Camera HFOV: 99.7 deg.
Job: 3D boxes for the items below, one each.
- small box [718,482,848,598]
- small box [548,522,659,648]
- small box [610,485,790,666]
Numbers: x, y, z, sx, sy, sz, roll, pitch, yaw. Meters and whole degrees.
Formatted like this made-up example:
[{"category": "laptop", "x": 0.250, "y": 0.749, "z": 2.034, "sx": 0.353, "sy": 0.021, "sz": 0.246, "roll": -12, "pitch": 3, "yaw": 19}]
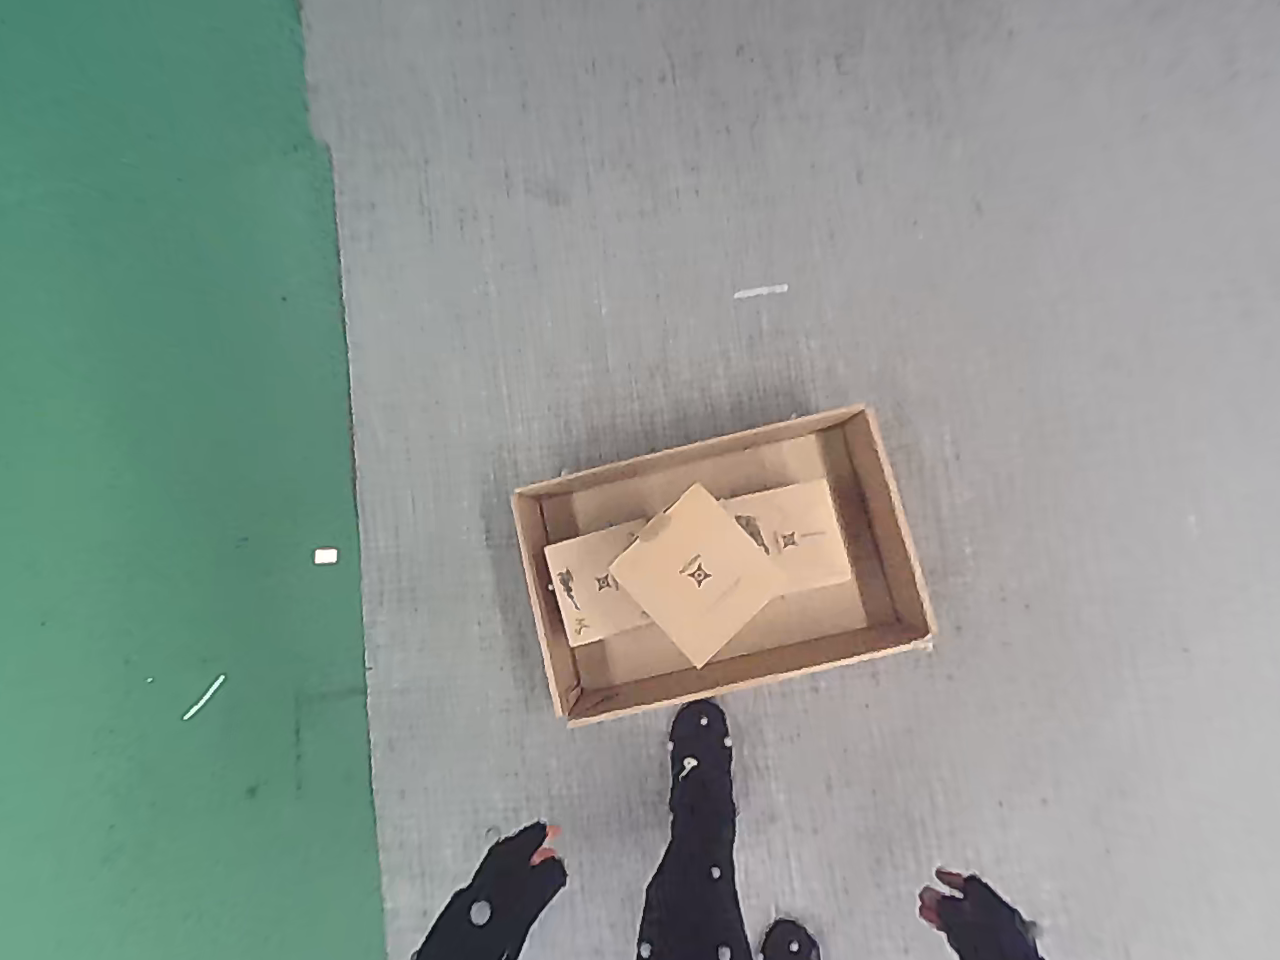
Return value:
[{"category": "small box", "x": 0.230, "y": 0.107, "z": 0.926, "sx": 0.179, "sy": 0.176, "sz": 0.168, "roll": -13, "pitch": 84, "yaw": 3}, {"category": "small box", "x": -0.043, "y": 0.174, "z": 0.940, "sx": 0.179, "sy": 0.176, "sz": 0.168, "roll": -16, "pitch": 83, "yaw": 0}, {"category": "small box", "x": 0.079, "y": 0.129, "z": 0.774, "sx": 0.168, "sy": 0.176, "sz": 0.179, "roll": -44, "pitch": 85, "yaw": -1}]
